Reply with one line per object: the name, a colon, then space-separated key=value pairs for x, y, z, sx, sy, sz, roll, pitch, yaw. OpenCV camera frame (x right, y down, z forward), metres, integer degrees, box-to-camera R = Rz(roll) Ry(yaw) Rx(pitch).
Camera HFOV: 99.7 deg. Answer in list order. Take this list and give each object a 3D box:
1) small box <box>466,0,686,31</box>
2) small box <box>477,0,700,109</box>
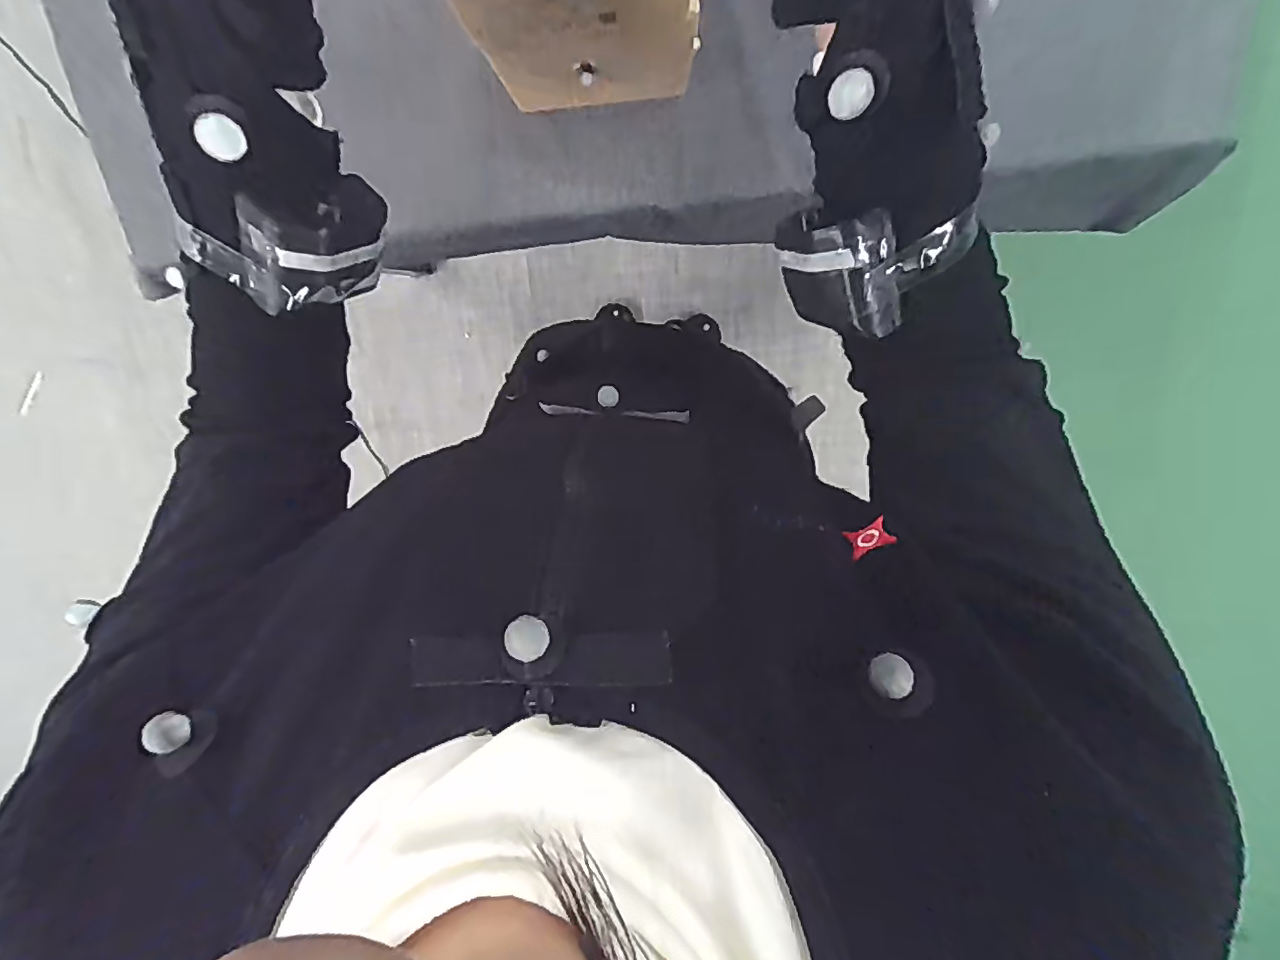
small box: x=-0.052 y=-0.405 z=0.318 sx=0.168 sy=0.176 sz=0.179 roll=-6 pitch=107 yaw=3
small box: x=-0.045 y=-0.454 z=0.474 sx=0.179 sy=0.176 sz=0.168 roll=-5 pitch=107 yaw=3
